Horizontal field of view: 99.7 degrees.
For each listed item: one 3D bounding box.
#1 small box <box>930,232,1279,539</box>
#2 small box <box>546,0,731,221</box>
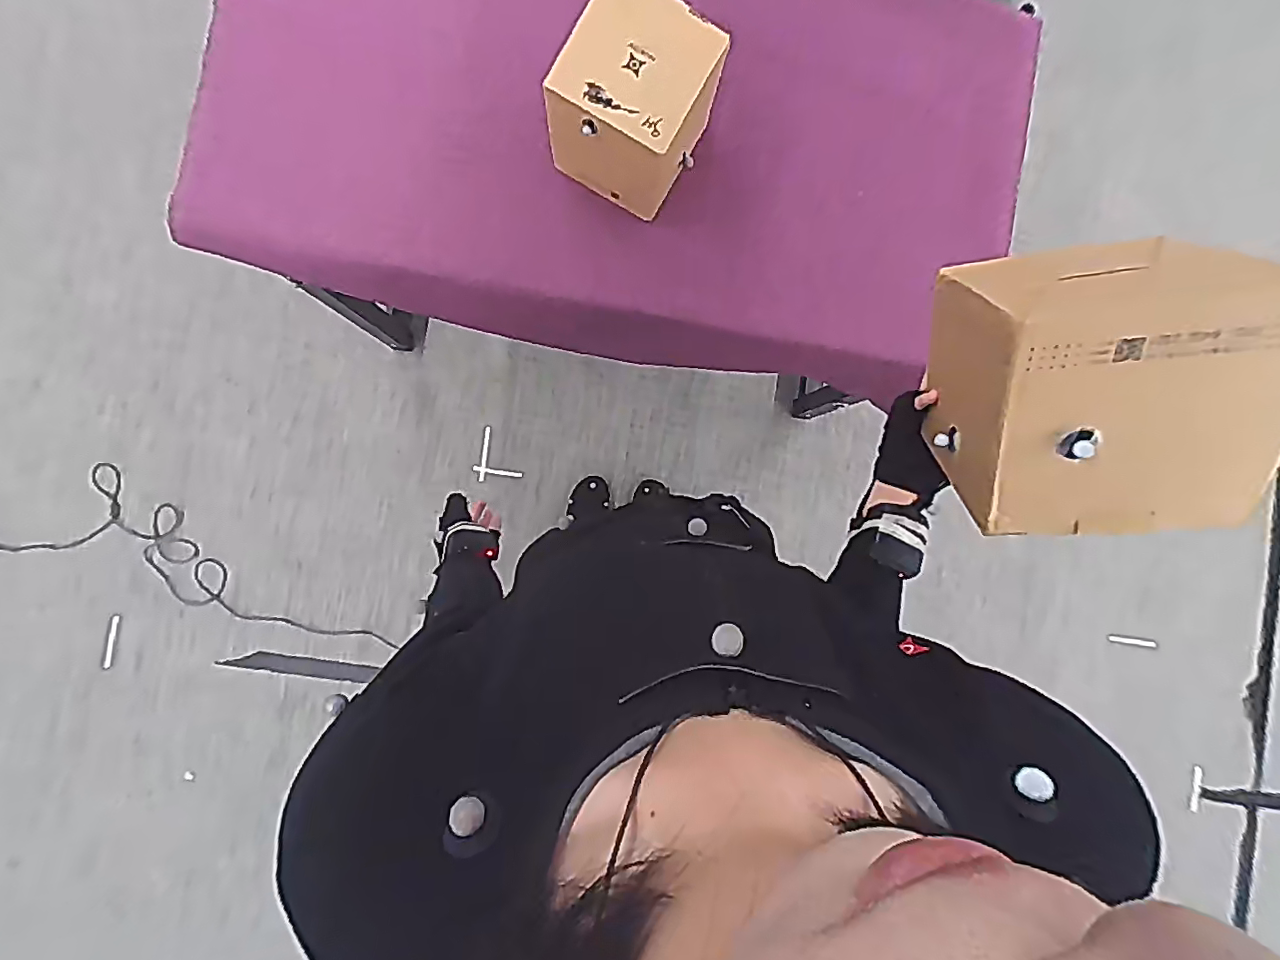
[{"bbox_3d":[0.337,-0.076,0.406,0.168,0.179,0.176,-3,121,13],"label":"small box"},{"bbox_3d":[-0.008,-0.492,0.717,0.168,0.176,0.179,29,86,-3],"label":"small box"}]
